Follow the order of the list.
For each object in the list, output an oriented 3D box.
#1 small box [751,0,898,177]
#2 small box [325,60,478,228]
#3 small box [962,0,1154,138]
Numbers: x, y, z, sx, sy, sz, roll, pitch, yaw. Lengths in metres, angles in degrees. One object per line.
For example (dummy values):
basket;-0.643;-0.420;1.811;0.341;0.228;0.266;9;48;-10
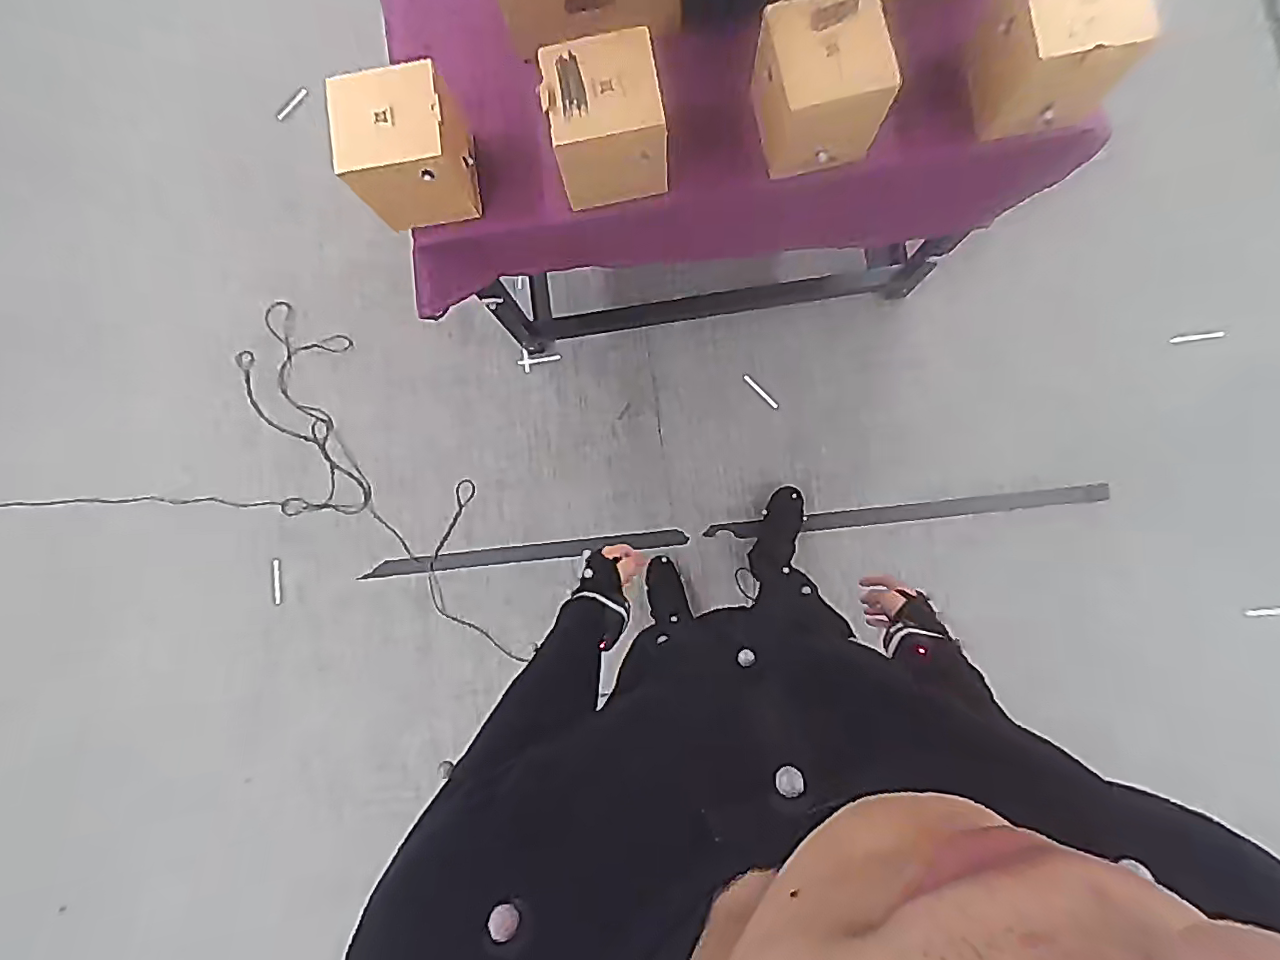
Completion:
small box;0.285;-0.635;0.875;0.168;0.176;0.179;-12;85;4
small box;-0.394;-0.553;0.915;0.179;0.176;0.168;-9;84;2
small box;0.639;-0.688;0.853;0.168;0.176;0.179;-7;84;5
